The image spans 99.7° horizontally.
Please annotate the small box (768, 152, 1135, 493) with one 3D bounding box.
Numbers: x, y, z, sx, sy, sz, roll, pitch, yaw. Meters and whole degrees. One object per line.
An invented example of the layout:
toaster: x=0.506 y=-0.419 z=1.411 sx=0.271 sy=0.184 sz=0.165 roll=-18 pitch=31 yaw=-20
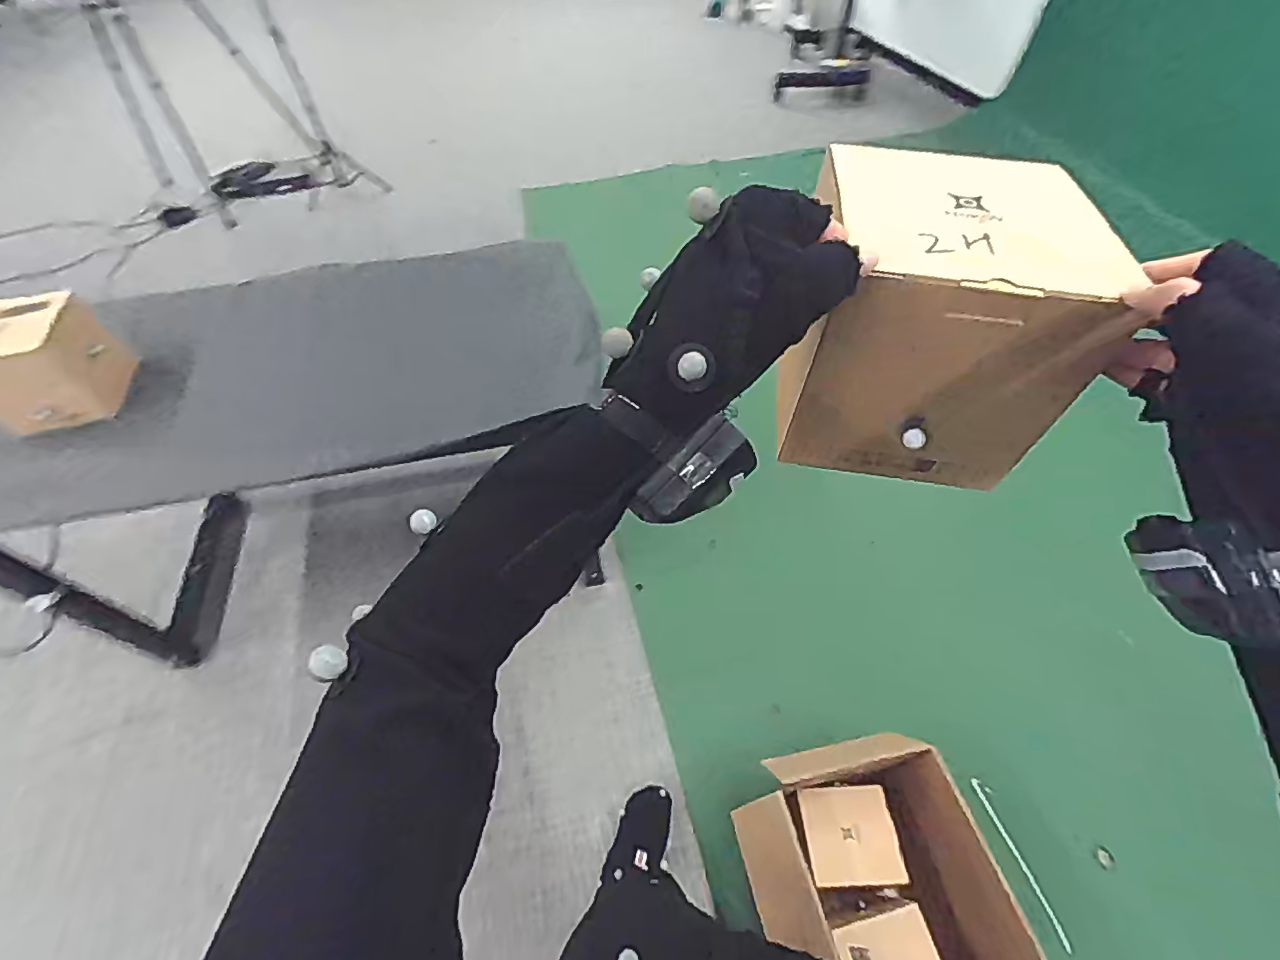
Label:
small box: x=0.195 y=-0.116 z=0.409 sx=0.168 sy=0.176 sz=0.179 roll=7 pitch=52 yaw=4
